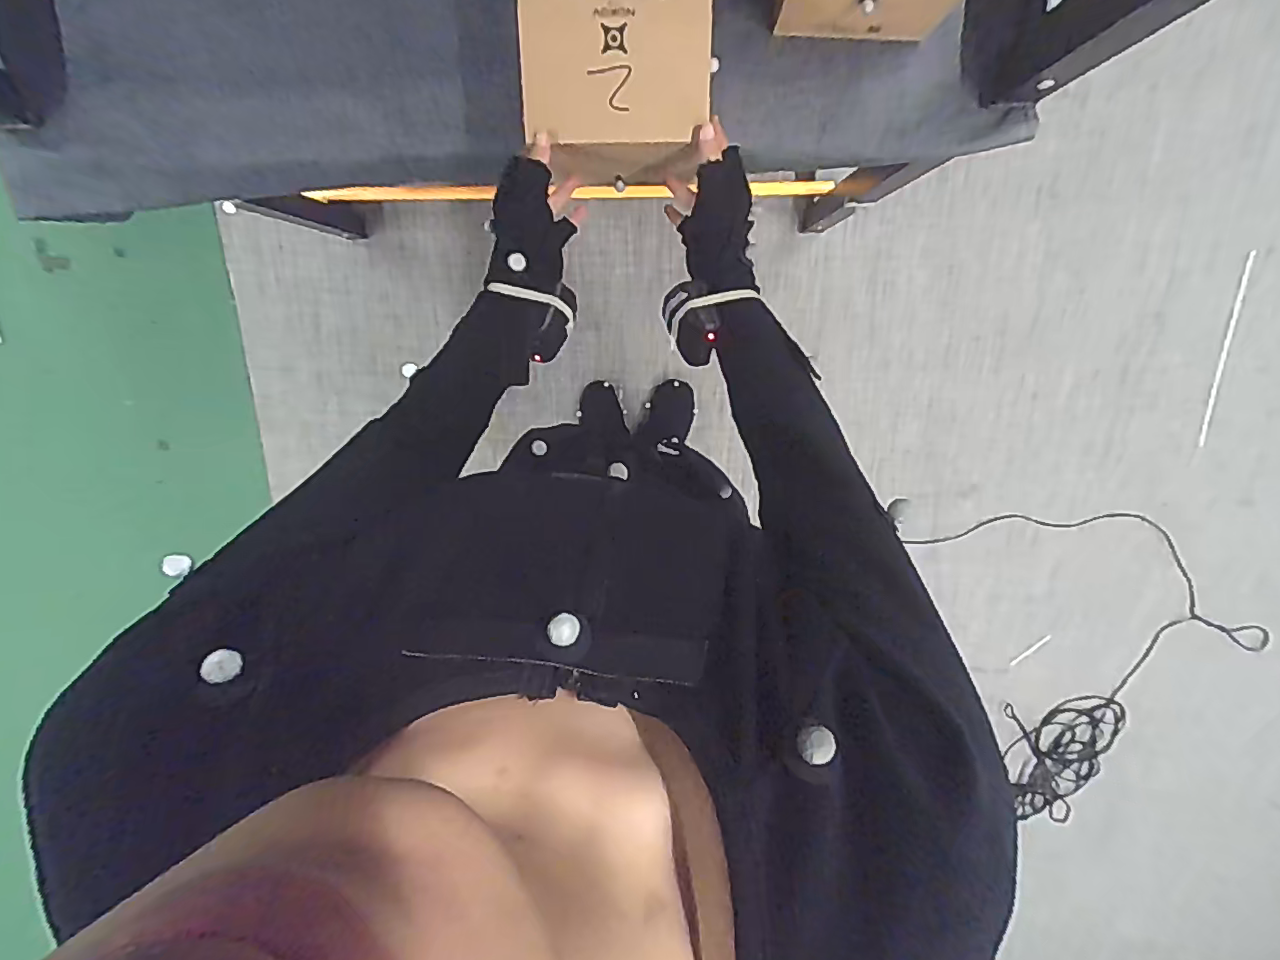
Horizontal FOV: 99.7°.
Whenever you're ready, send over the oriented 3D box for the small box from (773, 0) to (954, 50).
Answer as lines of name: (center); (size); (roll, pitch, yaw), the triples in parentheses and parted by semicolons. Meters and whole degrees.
small box: (0.226, -0.536, 0.497); (0.168, 0.176, 0.179); (3, 104, 0)
